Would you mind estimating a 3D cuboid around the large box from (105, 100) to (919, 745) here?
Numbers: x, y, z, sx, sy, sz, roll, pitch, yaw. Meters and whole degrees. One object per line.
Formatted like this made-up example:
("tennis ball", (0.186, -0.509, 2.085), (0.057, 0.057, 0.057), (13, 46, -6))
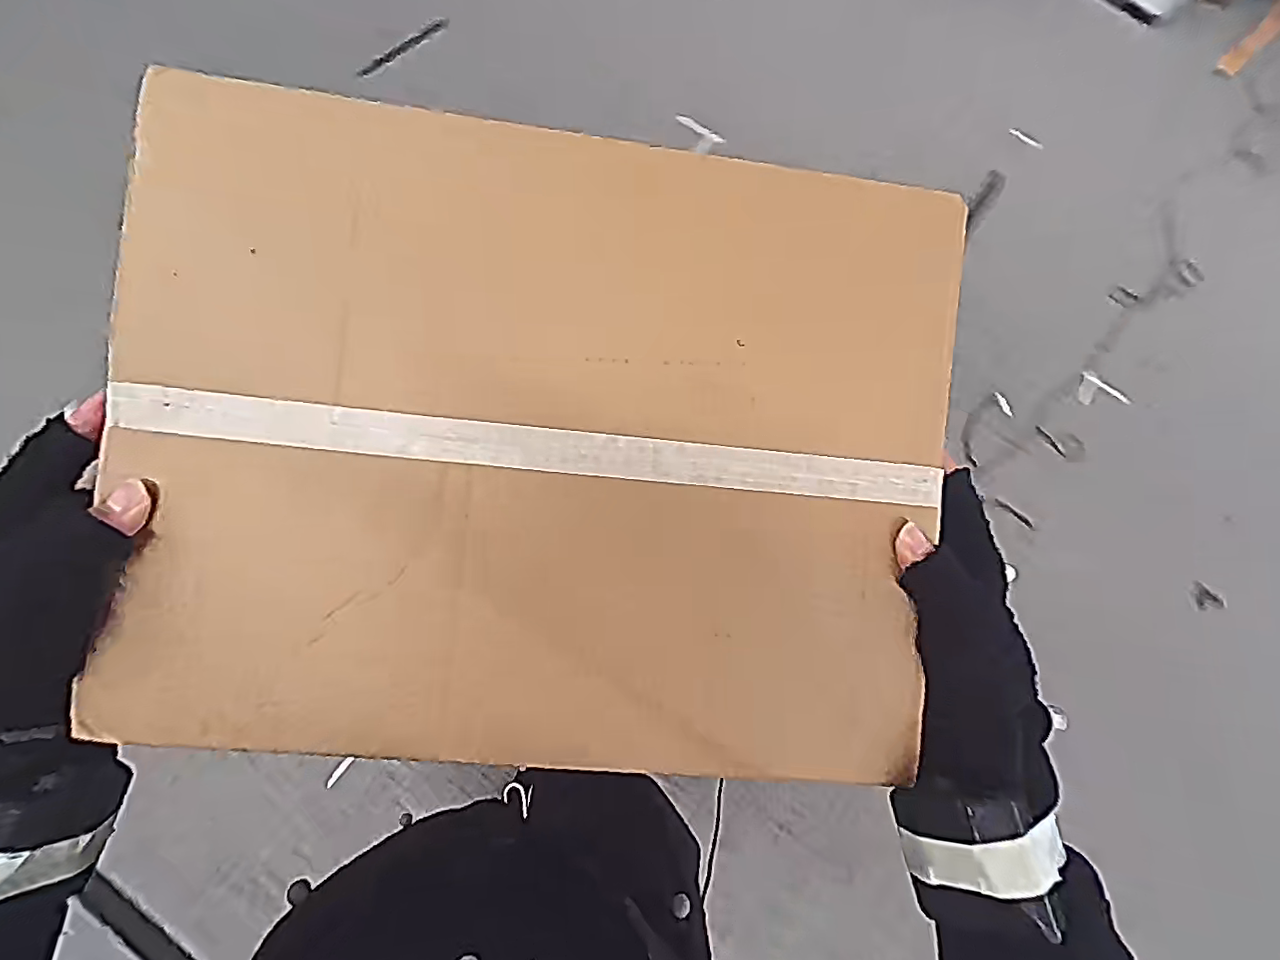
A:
("large box", (-0.065, -0.021, 0.429), (0.408, 0.320, 0.320), (5, 89, -6))
